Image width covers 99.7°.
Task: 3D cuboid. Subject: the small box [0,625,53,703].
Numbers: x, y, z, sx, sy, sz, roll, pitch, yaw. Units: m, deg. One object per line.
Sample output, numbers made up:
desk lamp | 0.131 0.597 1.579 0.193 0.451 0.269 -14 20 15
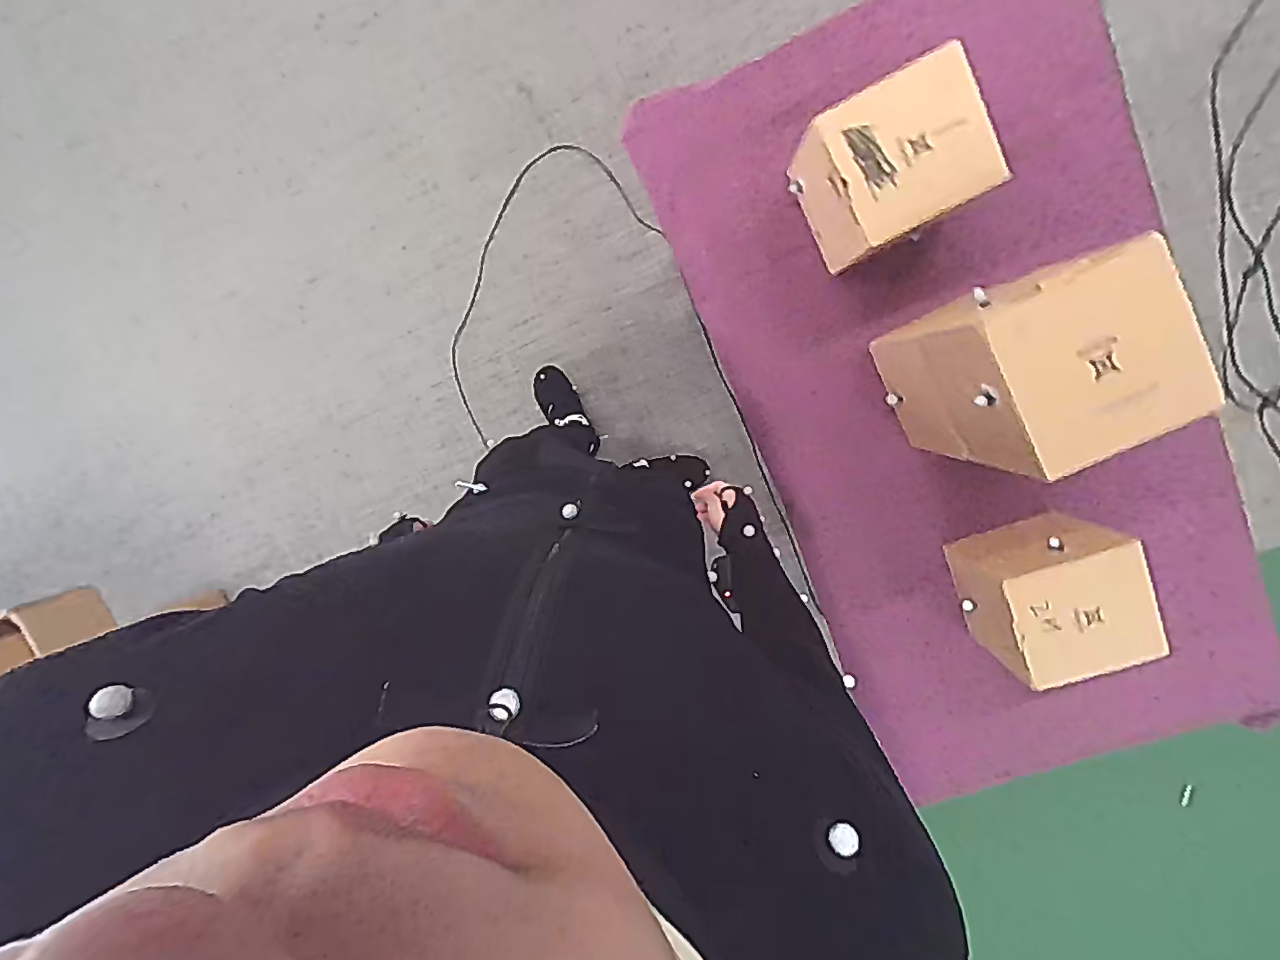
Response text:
small box | -1.651 0.487 1.346 0.179 0.176 0.168 -19 97 7

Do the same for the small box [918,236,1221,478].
small box | 0.434 -0.122 0.581 0.168 0.176 0.179 -26 97 10

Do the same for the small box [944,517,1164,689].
small box | 0.585 0.166 0.786 0.179 0.176 0.168 -19 97 8

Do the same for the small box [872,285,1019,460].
small box | 0.450 -0.148 0.742 0.168 0.176 0.179 -25 97 8

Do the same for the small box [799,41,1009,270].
small box | 0.323 -0.399 0.706 0.179 0.176 0.168 -25 97 8
